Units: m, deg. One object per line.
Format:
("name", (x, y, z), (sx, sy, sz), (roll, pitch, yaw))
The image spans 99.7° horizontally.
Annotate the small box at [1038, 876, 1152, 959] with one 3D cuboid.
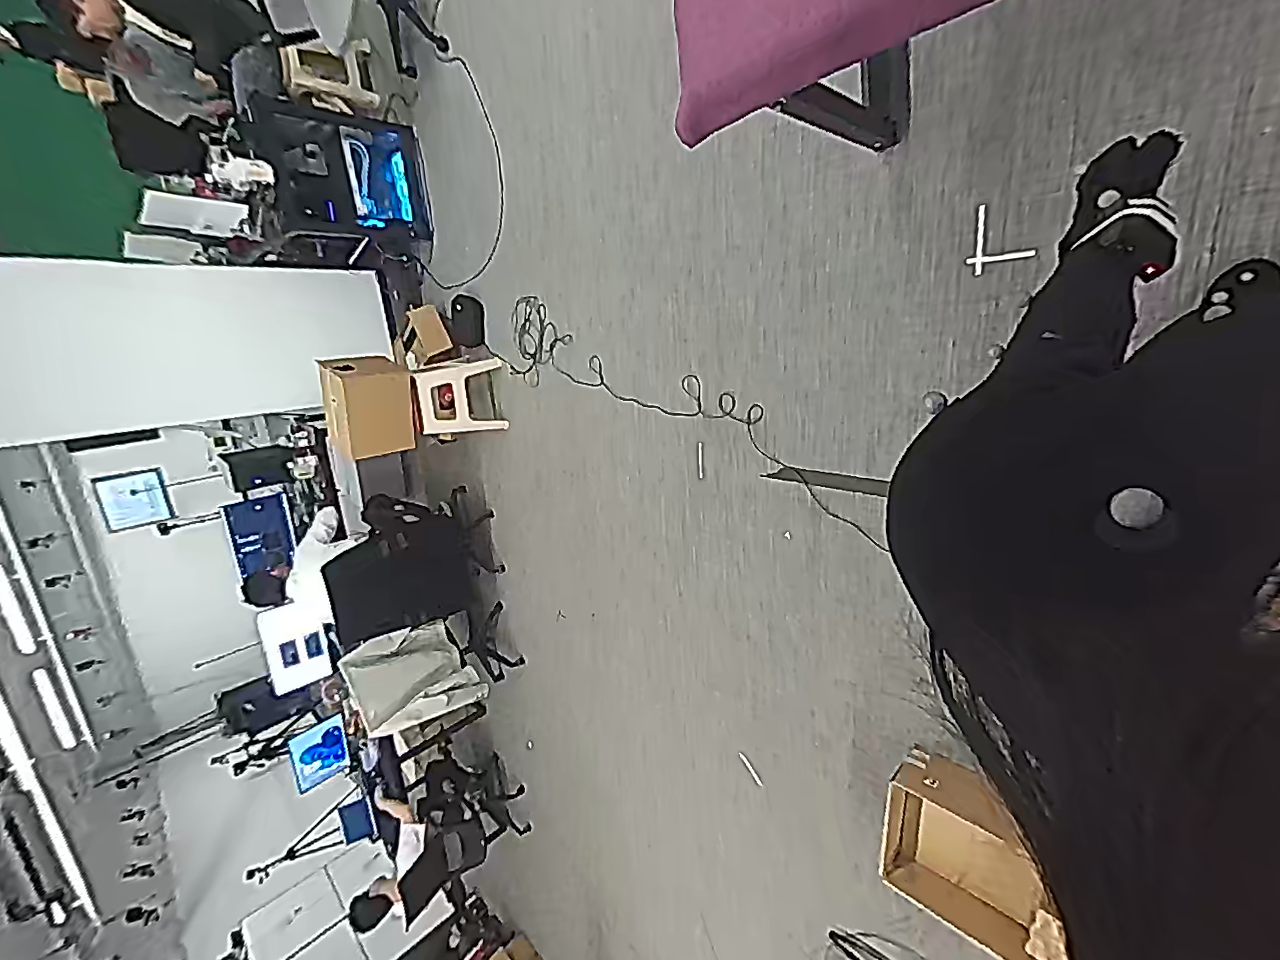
("small box", (1.122, 1.131, 1.333), (0.179, 0.176, 0.168), (17, 116, 43))
